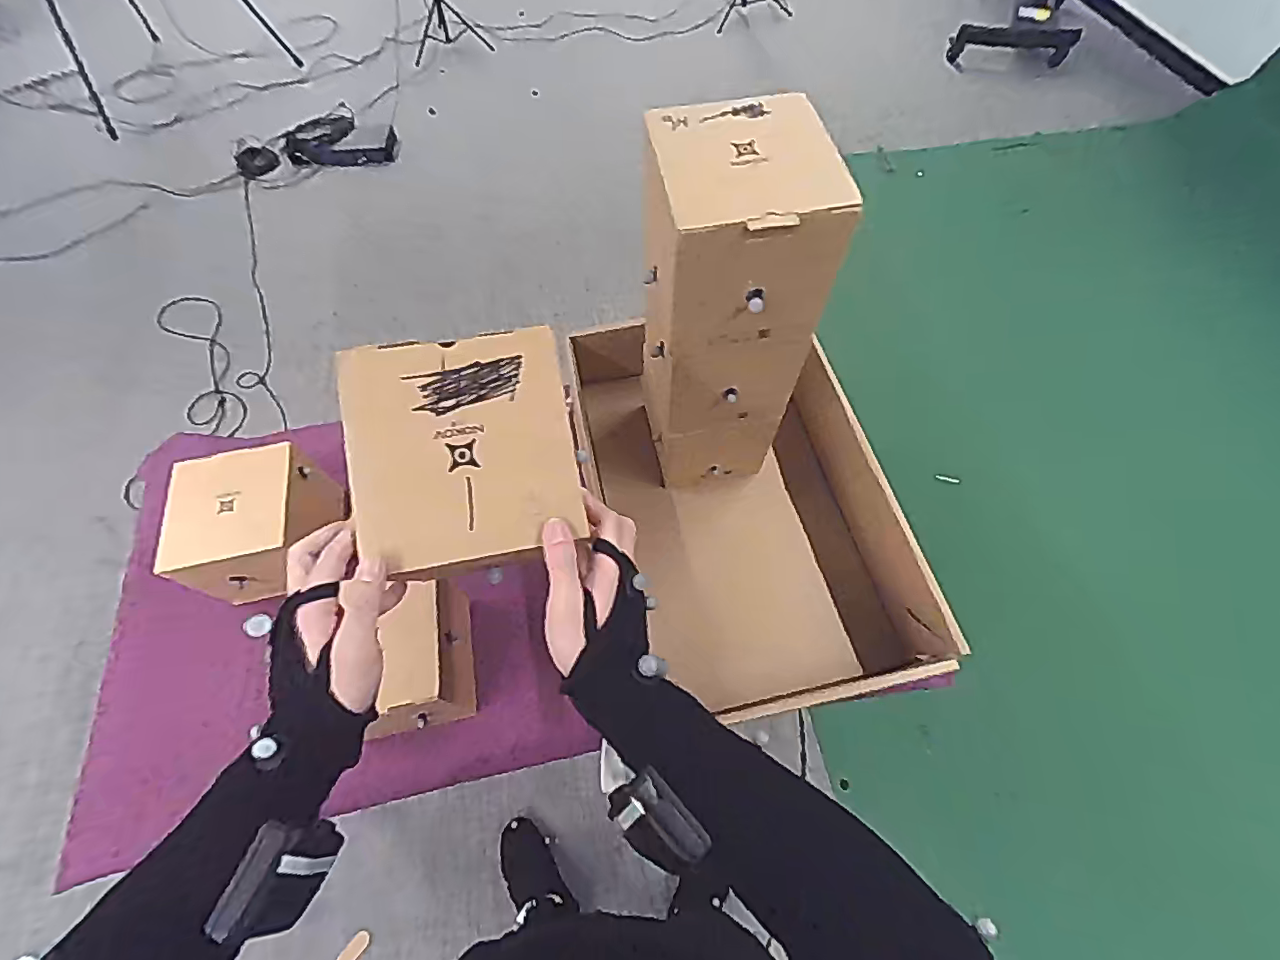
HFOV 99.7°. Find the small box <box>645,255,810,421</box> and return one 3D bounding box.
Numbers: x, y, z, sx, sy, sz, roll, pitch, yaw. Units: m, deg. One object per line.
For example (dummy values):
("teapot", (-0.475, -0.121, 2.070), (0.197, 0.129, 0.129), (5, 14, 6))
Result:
("small box", (0.102, -0.192, 0.715), (0.168, 0.176, 0.179), (-9, 63, -4))

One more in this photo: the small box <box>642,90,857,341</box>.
("small box", (0.097, -0.263, 0.568), (0.168, 0.176, 0.179), (-9, 65, -4))

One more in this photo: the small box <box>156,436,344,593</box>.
("small box", (-0.577, 0.062, 0.828), (0.168, 0.176, 0.179), (-13, 62, -6))

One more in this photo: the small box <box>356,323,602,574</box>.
("small box", (-0.133, -0.017, 0.487), (0.168, 0.176, 0.179), (-10, 81, -9))

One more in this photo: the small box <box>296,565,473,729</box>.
("small box", (-0.333, 0.231, 0.737), (0.168, 0.176, 0.179), (-10, 61, -6))
